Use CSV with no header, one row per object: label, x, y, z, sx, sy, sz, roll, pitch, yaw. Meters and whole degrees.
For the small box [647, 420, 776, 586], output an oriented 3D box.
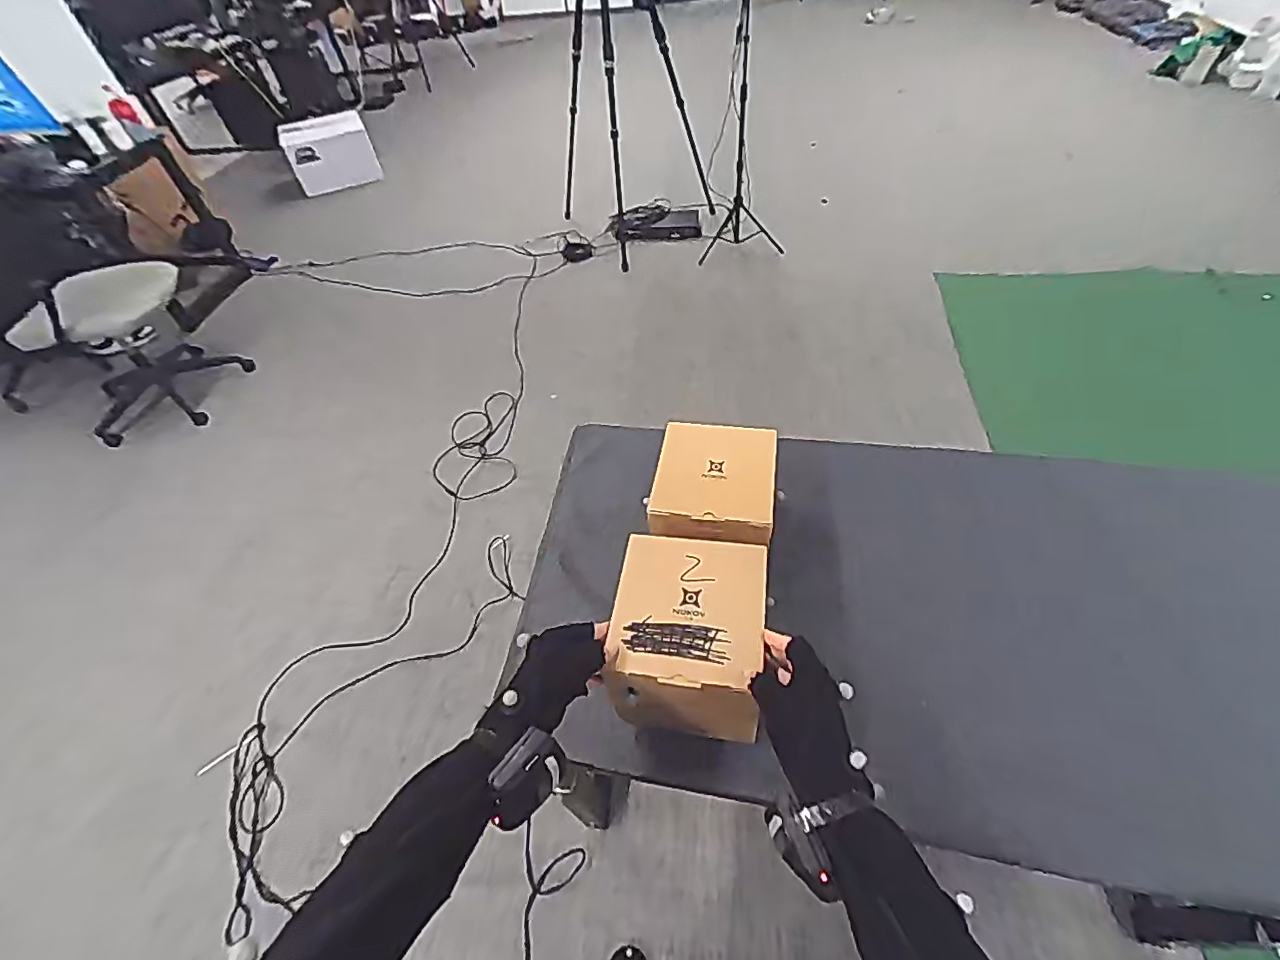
small box,0.109,0.035,0.820,0.168,0.176,0.179,6,52,10
